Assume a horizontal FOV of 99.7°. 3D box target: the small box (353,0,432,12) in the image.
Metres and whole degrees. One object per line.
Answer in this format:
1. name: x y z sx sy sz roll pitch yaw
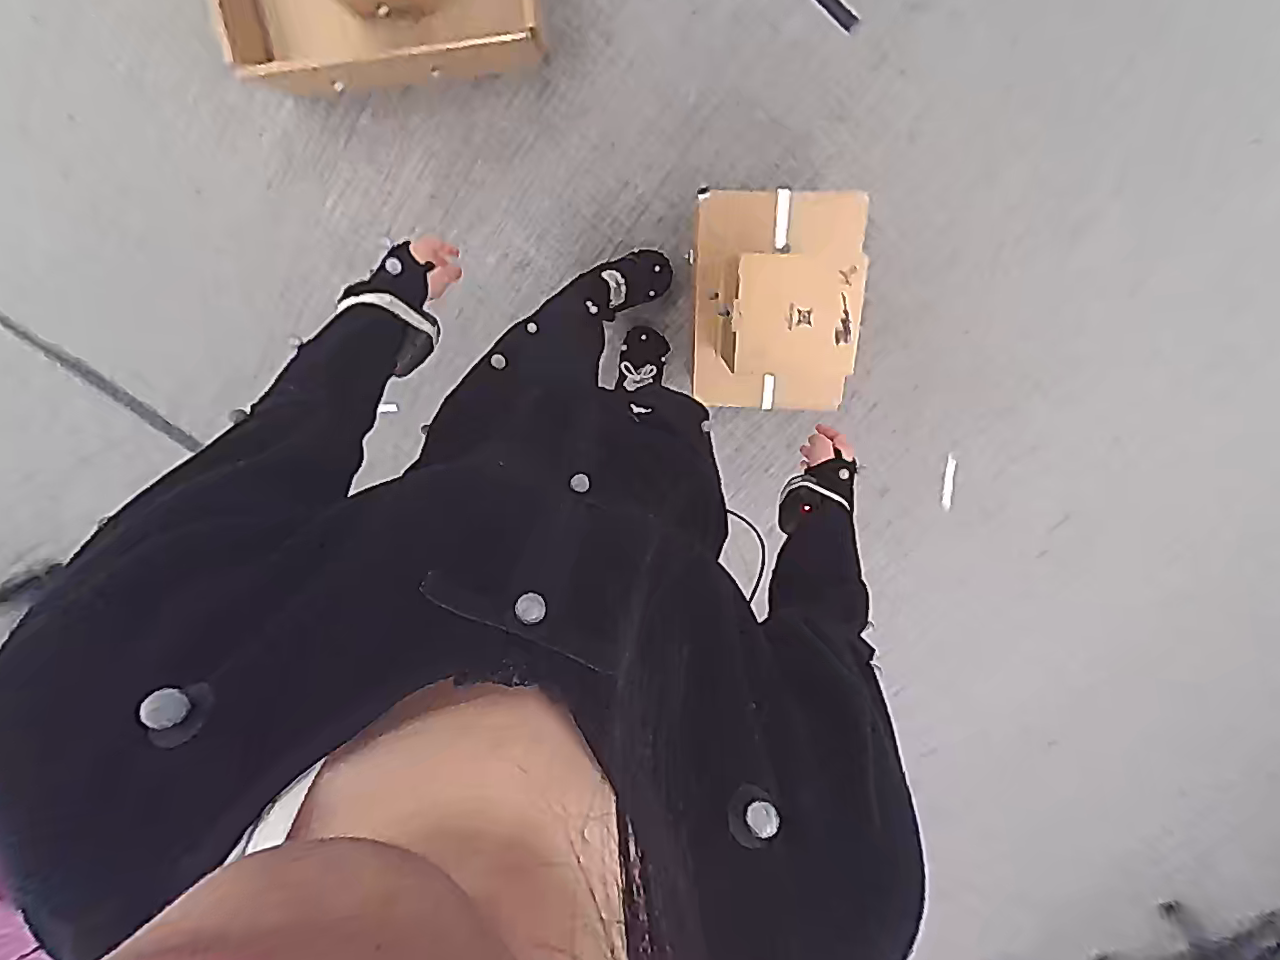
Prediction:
1. small box: -0.516 -1.036 1.026 0.168 0.176 0.179 0 110 3

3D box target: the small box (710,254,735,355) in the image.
1. small box: 0.222 -0.316 0.980 0.179 0.176 0.168 1 111 2

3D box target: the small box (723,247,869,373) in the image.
1. small box: 0.223 -0.261 0.825 0.179 0.176 0.168 2 111 3
